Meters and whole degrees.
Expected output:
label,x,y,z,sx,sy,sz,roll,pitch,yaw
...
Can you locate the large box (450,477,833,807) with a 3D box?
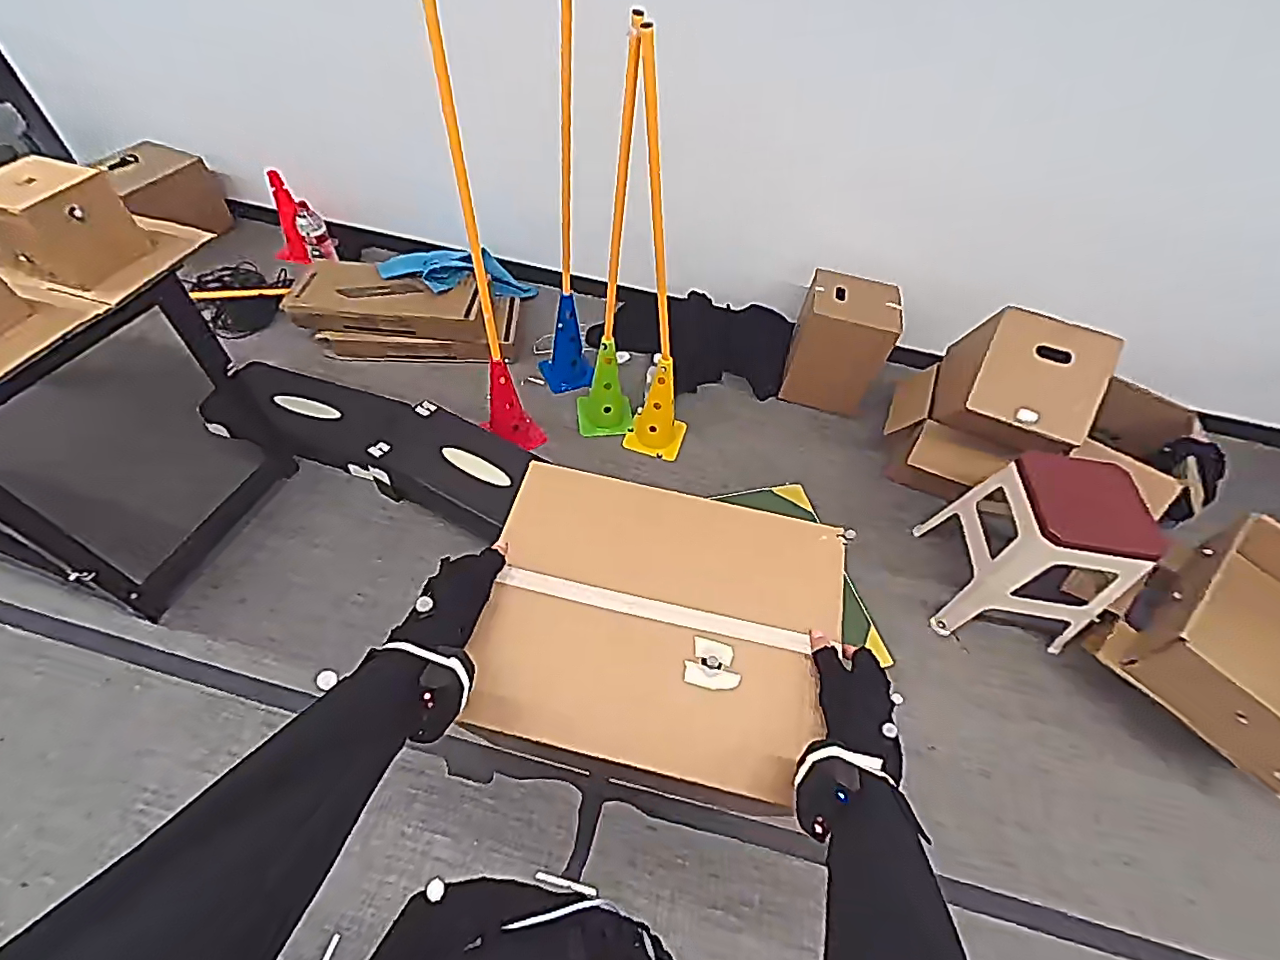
label,x,y,z,sx,sy,sz,roll,pitch,yaw
large box,0.013,0.236,0.752,0.408,0.320,0.320,13,60,3
